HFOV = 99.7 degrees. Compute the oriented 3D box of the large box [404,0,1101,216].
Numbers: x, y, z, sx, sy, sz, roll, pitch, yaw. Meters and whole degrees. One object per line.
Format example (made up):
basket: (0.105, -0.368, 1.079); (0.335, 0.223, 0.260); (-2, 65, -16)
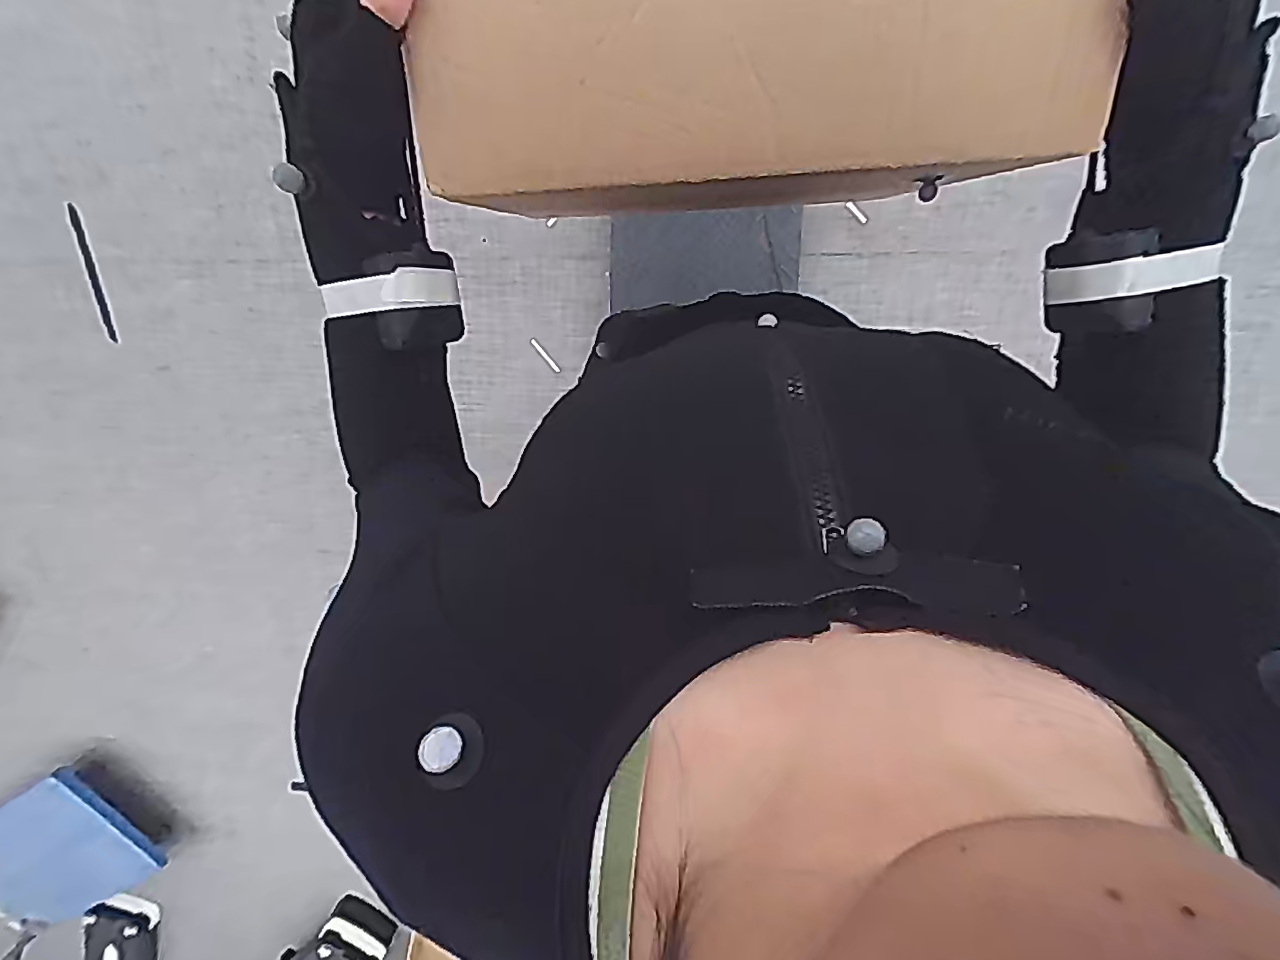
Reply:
large box: (0.063, -0.393, 0.419); (0.408, 0.320, 0.320); (-3, 113, 2)
